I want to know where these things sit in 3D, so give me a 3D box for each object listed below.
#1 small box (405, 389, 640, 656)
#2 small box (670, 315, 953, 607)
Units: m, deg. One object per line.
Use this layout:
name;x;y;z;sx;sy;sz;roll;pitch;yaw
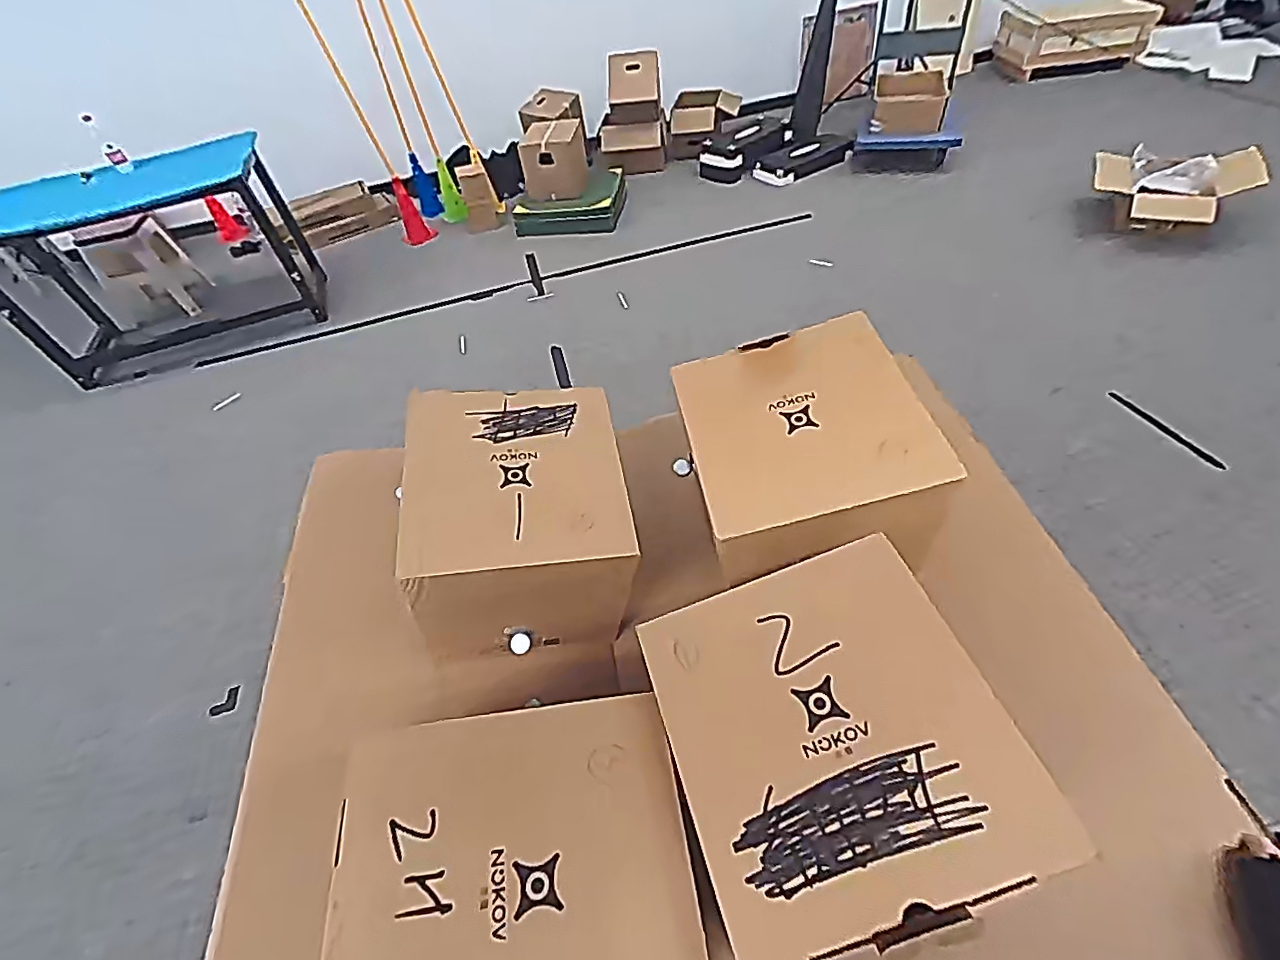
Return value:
small box;-0.104;0.038;0.489;0.168;0.176;0.179;-4;54;-12
small box;0.135;-0.005;0.471;0.168;0.176;0.179;-15;52;6
